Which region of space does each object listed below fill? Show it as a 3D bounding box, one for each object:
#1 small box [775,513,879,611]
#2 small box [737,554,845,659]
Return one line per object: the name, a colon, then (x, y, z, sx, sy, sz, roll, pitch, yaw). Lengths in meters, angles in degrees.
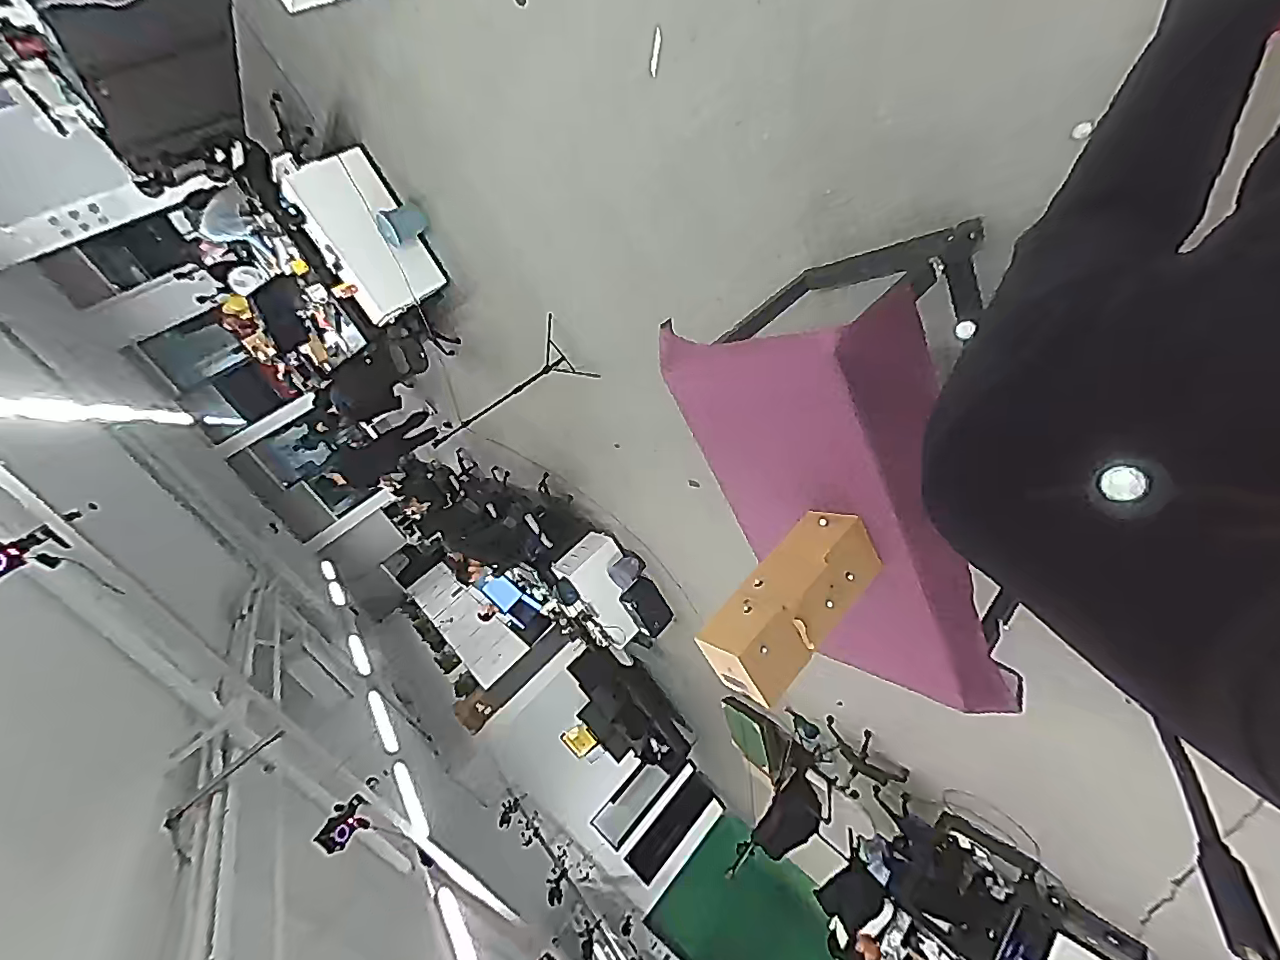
small box: (0.500, 0.212, 1.433, 0.168, 0.176, 0.179, 3, 129, 58)
small box: (0.384, 0.311, 1.371, 0.179, 0.176, 0.168, 11, 137, 55)
